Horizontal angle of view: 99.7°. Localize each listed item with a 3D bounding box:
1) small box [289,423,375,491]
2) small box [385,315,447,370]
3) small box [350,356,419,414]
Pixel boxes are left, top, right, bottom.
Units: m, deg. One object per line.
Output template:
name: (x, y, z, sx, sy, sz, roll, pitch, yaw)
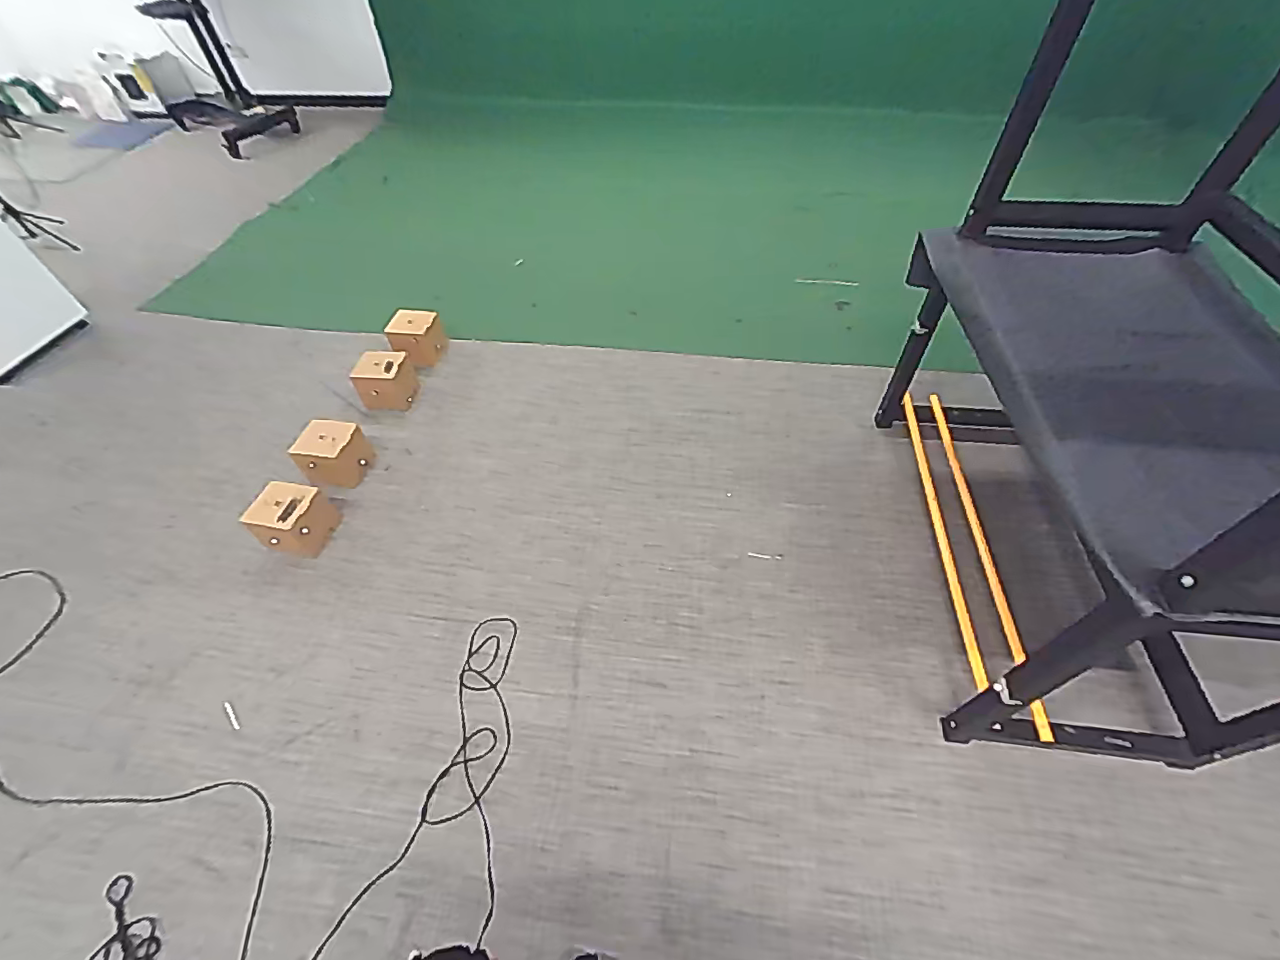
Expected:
small box: (-1.082, -0.078, 1.916, 0.179, 0.176, 0.168, 7, 51, 6)
small box: (-0.973, -0.599, 2.364, 0.179, 0.176, 0.168, 5, 51, 5)
small box: (-1.018, -0.379, 2.176, 0.179, 0.176, 0.168, 1, 49, 3)
